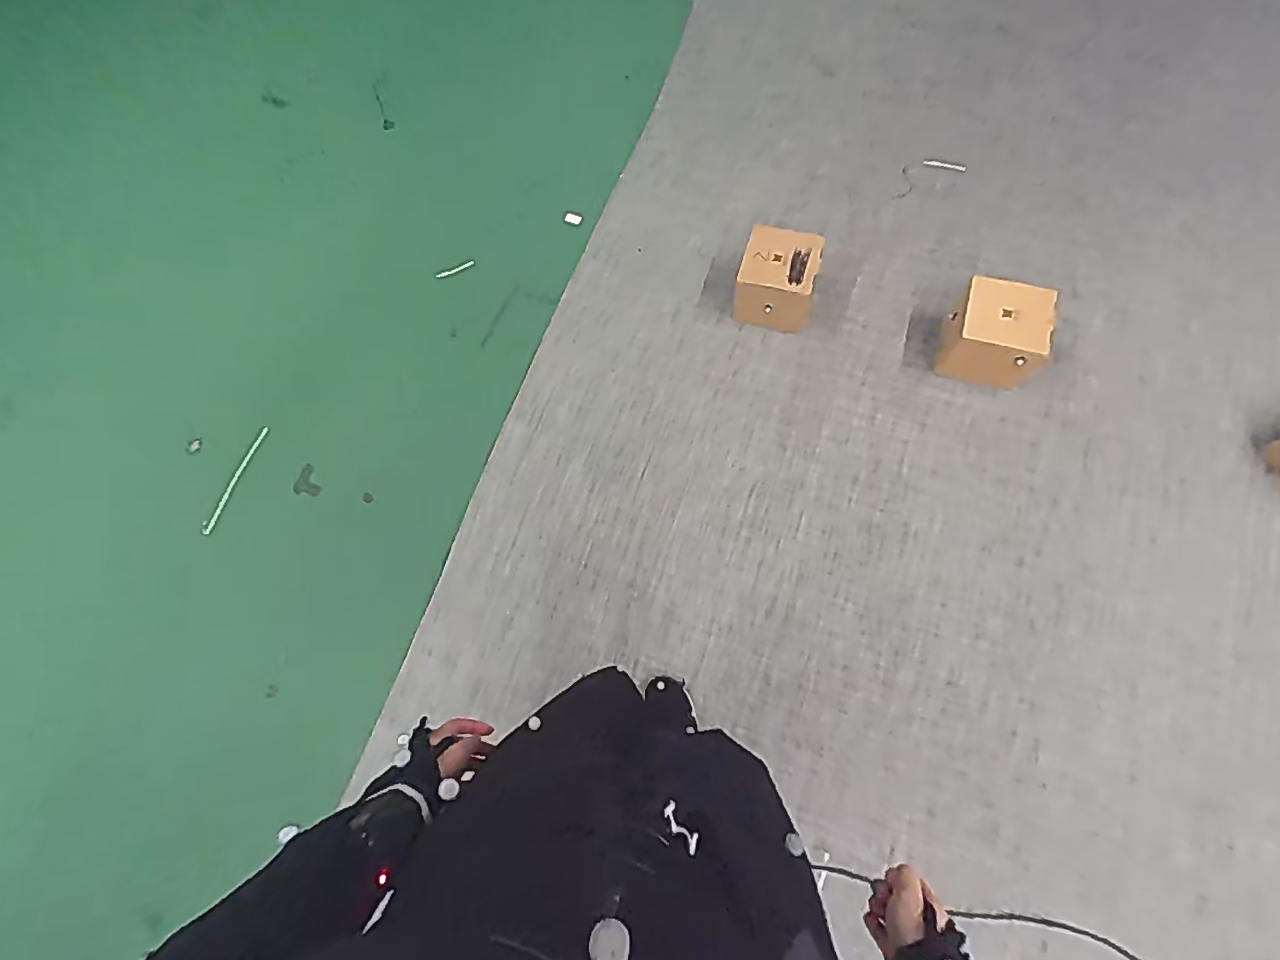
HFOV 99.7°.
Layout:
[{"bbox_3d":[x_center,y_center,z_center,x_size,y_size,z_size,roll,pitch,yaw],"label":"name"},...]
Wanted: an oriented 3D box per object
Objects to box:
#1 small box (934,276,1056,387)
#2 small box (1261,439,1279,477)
[{"bbox_3d":[0.801,-0.333,1.236,0.179,0.176,0.168,15,76,10],"label":"small box"},{"bbox_3d":[1.443,-0.056,1.079,0.179,0.176,0.168,-24,71,0],"label":"small box"}]
